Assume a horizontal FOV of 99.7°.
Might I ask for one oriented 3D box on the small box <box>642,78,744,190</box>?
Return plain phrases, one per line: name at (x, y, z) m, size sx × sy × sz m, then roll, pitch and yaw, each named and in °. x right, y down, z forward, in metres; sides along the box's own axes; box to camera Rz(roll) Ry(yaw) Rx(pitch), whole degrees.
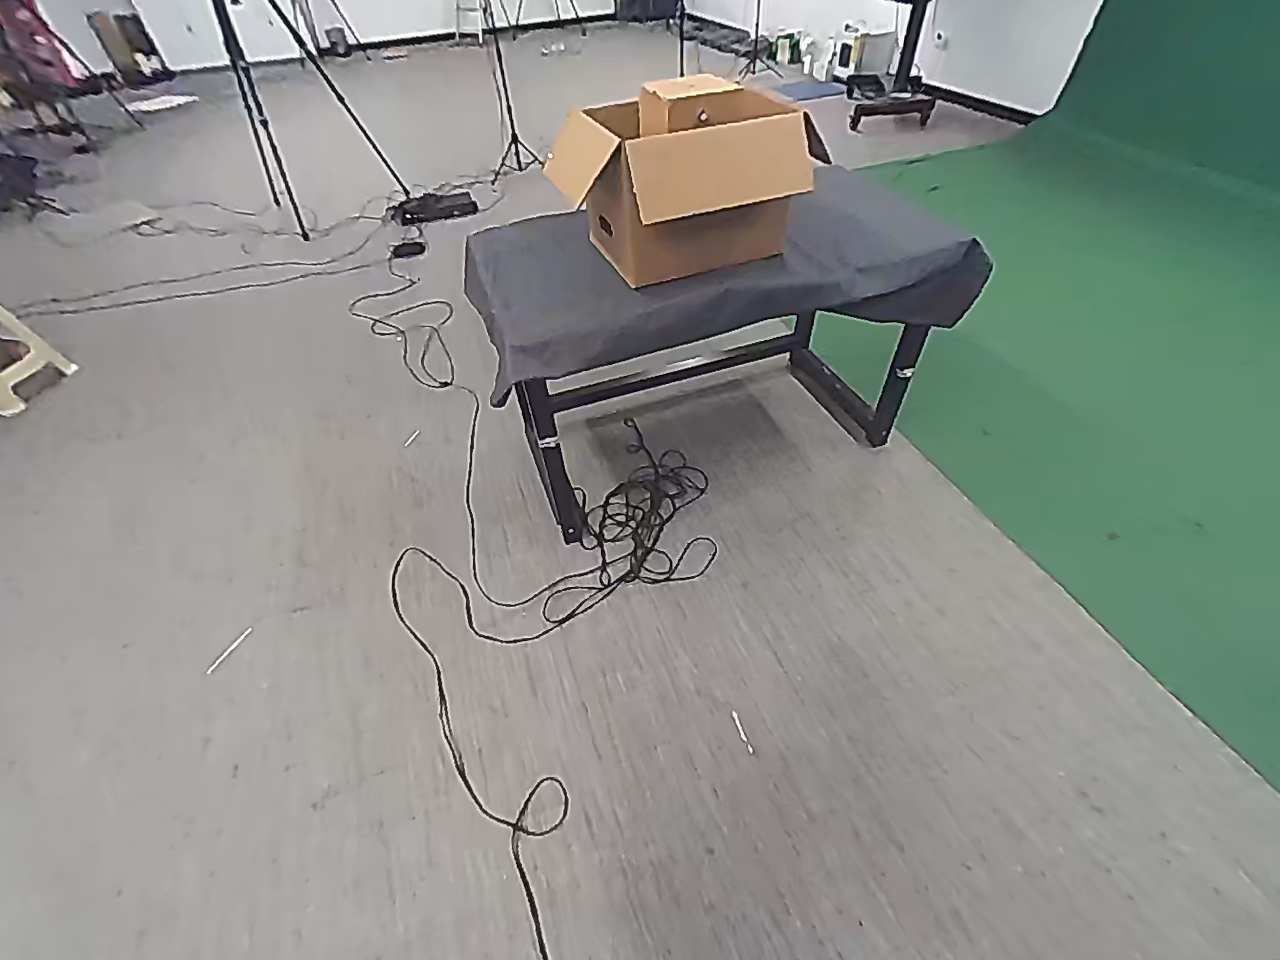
small box at (0.112, -0.776, 1.215) m, size 0.179 × 0.176 × 0.168 m, roll -17°, pitch 48°, yaw -12°
